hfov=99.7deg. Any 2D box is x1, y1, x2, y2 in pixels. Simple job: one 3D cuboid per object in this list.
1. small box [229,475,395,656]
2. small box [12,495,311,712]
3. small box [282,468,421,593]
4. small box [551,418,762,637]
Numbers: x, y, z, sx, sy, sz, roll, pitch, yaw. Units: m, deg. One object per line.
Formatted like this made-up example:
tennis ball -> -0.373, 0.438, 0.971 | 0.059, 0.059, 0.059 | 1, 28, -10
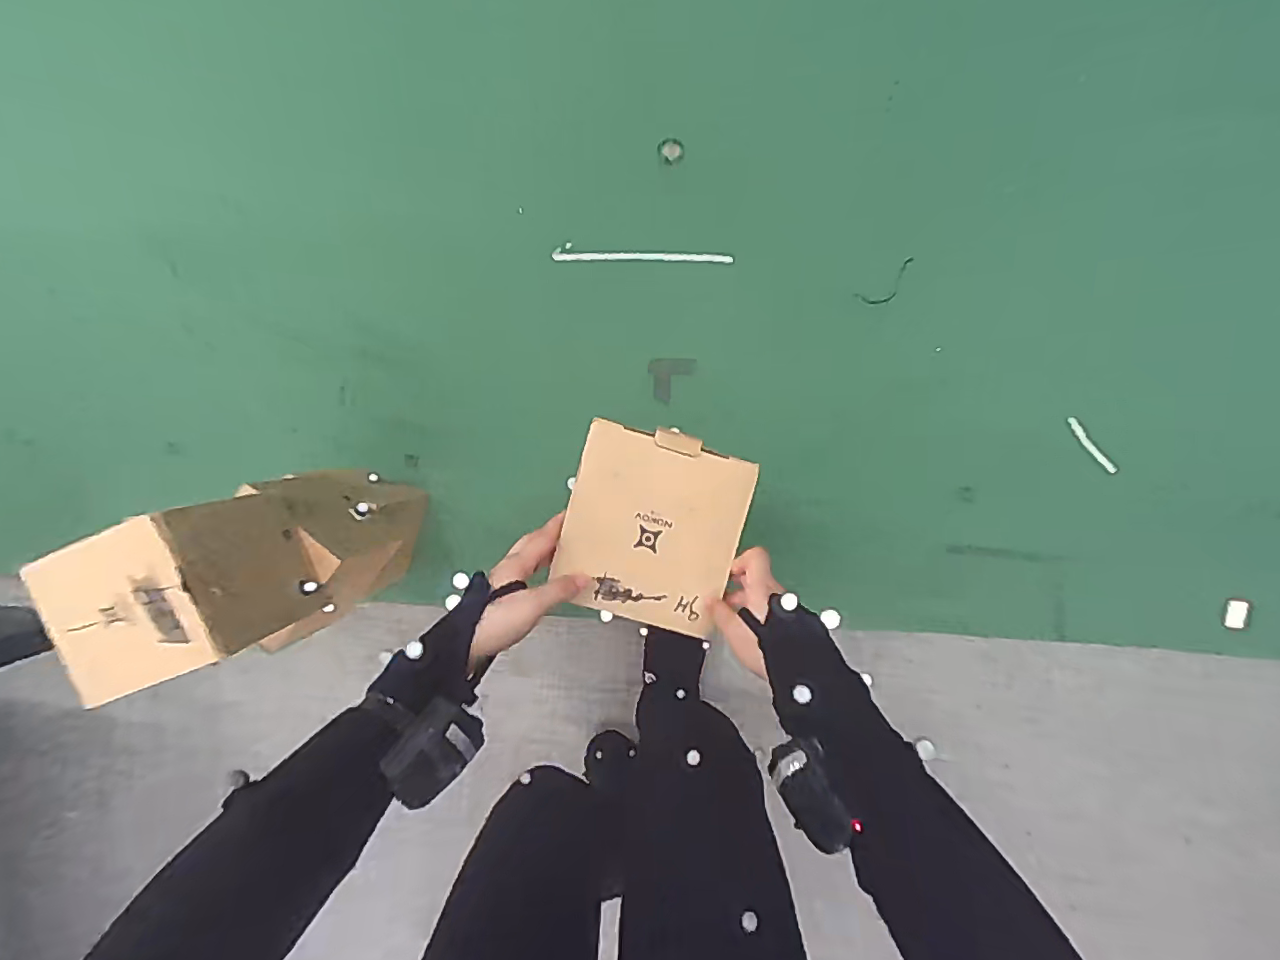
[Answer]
small box -> -0.498, 0.112, 0.786 | 0.168, 0.176, 0.179 | 39, 97, -1
small box -> -0.521, 0.127, 0.623 | 0.179, 0.176, 0.168 | -21, 95, 8
small box -> -0.513, 0.088, 0.949 | 0.168, 0.176, 0.179 | 18, 97, 3
small box -> 0.013, 0.042, 0.593 | 0.168, 0.176, 0.179 | 17, 93, -2
